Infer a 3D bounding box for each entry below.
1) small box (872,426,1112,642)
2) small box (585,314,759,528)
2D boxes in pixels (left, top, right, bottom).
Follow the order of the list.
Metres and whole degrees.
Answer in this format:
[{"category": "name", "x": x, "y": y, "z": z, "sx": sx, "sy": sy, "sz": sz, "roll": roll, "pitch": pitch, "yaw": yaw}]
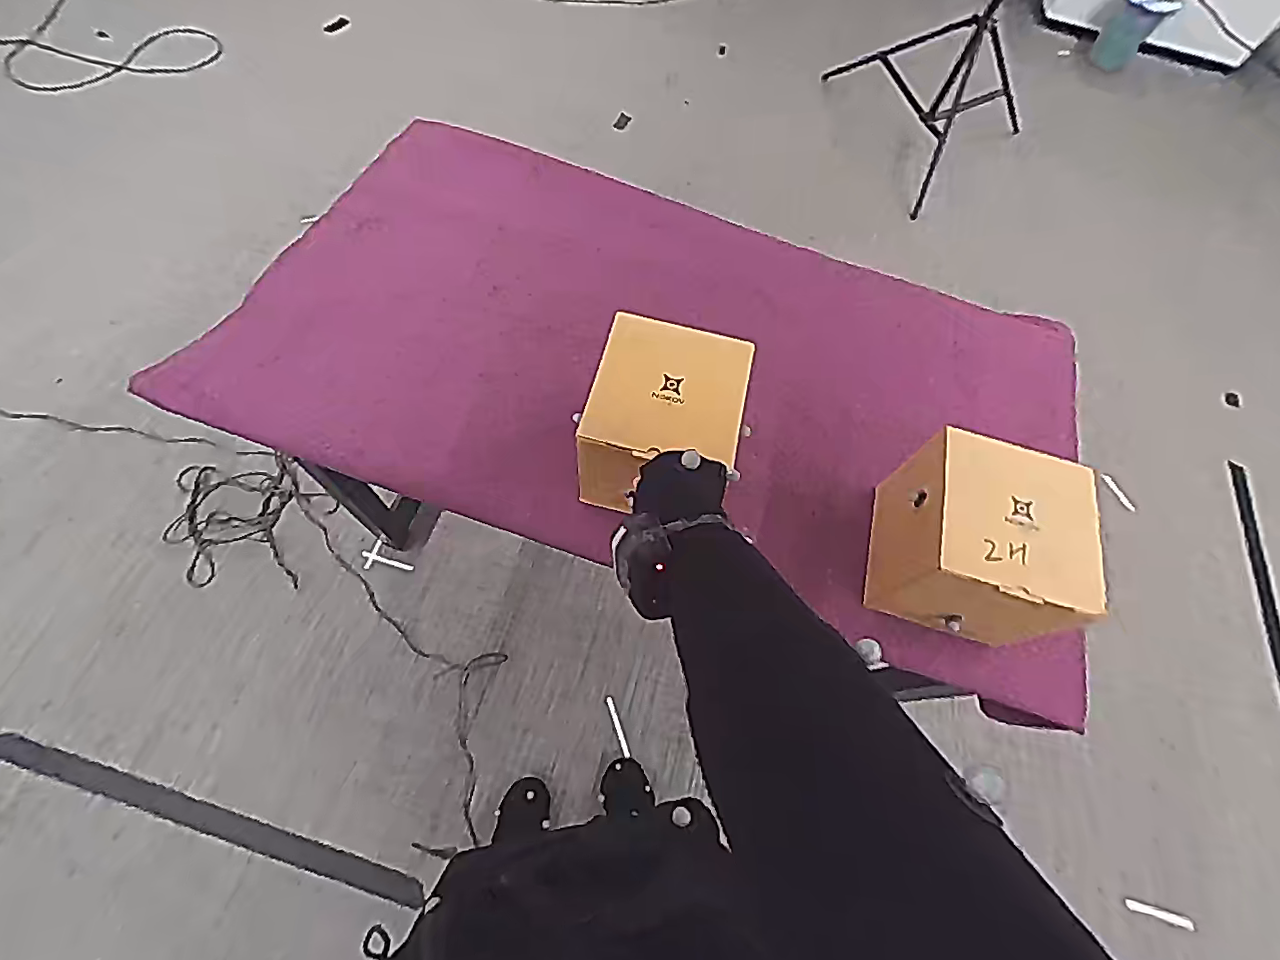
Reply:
[{"category": "small box", "x": 0.390, "y": 0.071, "z": 0.630, "sx": 0.168, "sy": 0.176, "sz": 0.179, "roll": 17, "pitch": 64, "yaw": 3}, {"category": "small box", "x": 0.032, "y": -0.064, "z": 0.656, "sx": 0.168, "sy": 0.176, "sz": 0.179, "roll": 13, "pitch": 65, "yaw": 1}]
